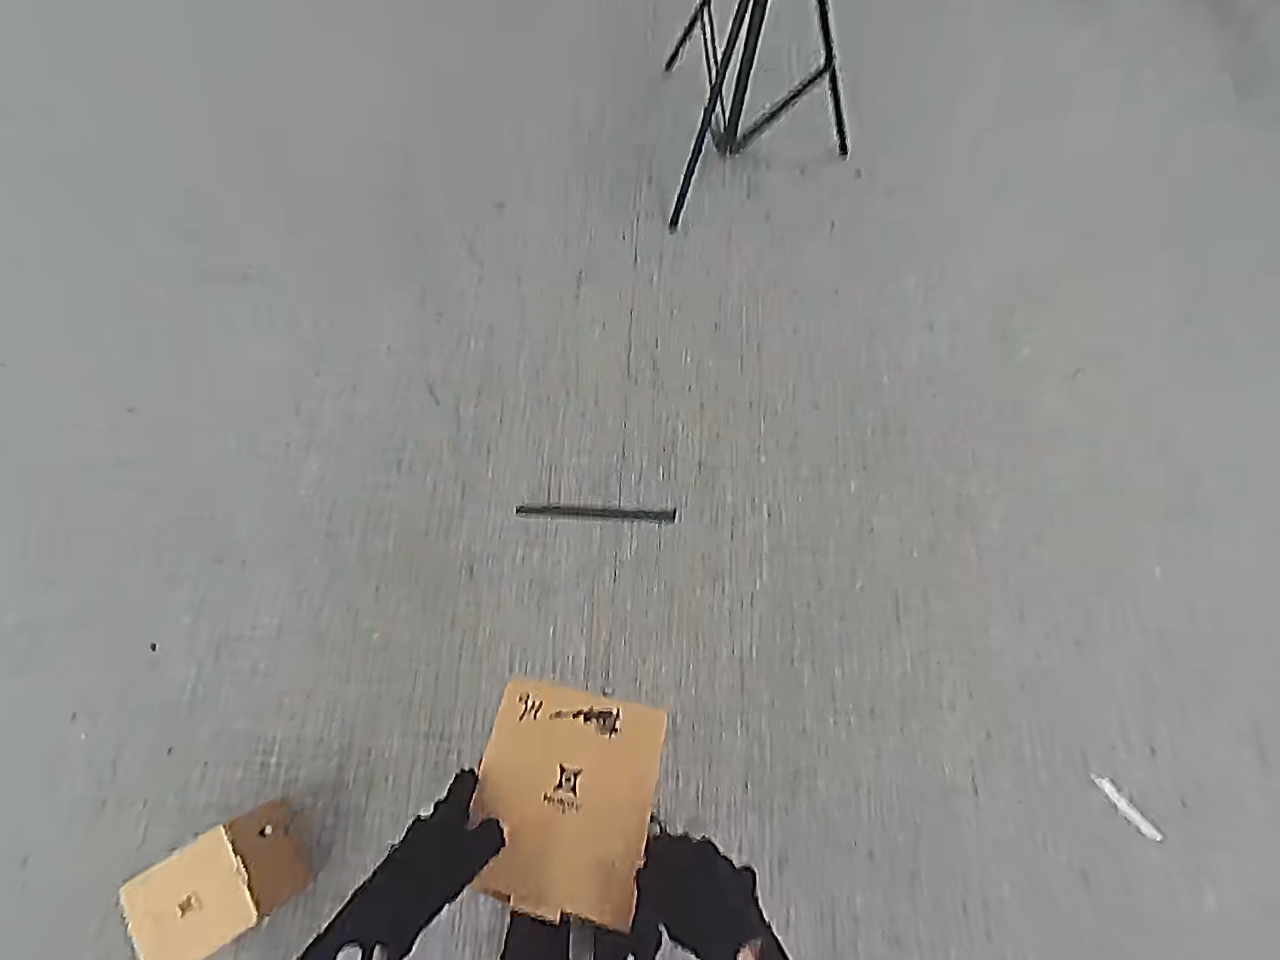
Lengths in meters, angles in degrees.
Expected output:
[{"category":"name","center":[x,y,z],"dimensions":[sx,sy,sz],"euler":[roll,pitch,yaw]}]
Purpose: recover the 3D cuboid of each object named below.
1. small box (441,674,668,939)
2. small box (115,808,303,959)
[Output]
[{"category":"small box","center":[-0.070,0.319,0.550],"dimensions":[0.168,0.176,0.179],"euler":[11,60,5]},{"category":"small box","center":[-0.719,0.705,0.929],"dimensions":[0.179,0.176,0.168],"euler":[-32,75,-11]}]
